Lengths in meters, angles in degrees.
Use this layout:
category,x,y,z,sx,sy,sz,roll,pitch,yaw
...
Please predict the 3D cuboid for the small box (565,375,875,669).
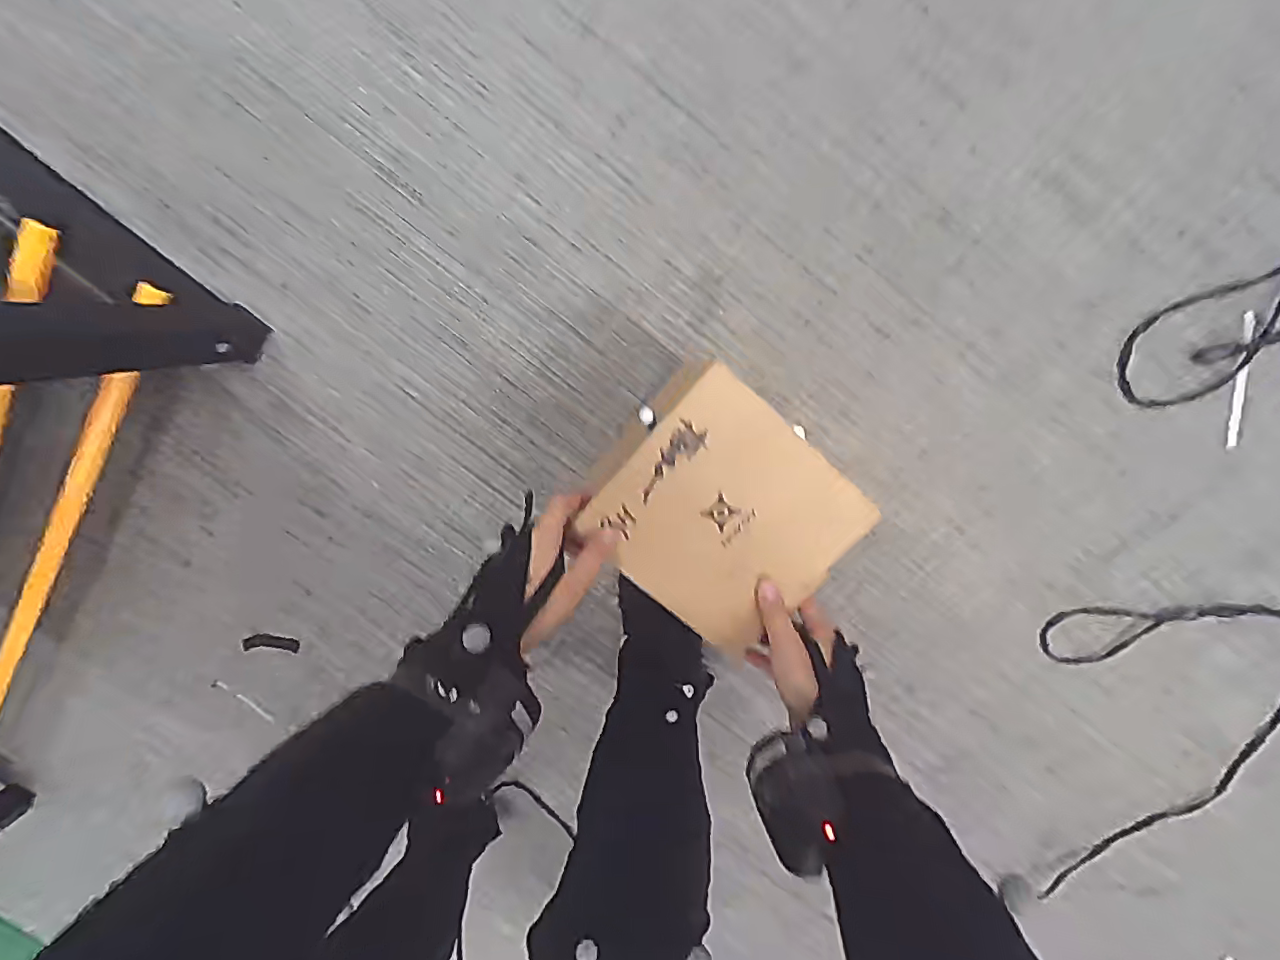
category,x,y,z,sx,sy,sz,roll,pitch,yaw
small box,0.058,0.020,0.477,0.179,0.176,0.168,40,97,-10
